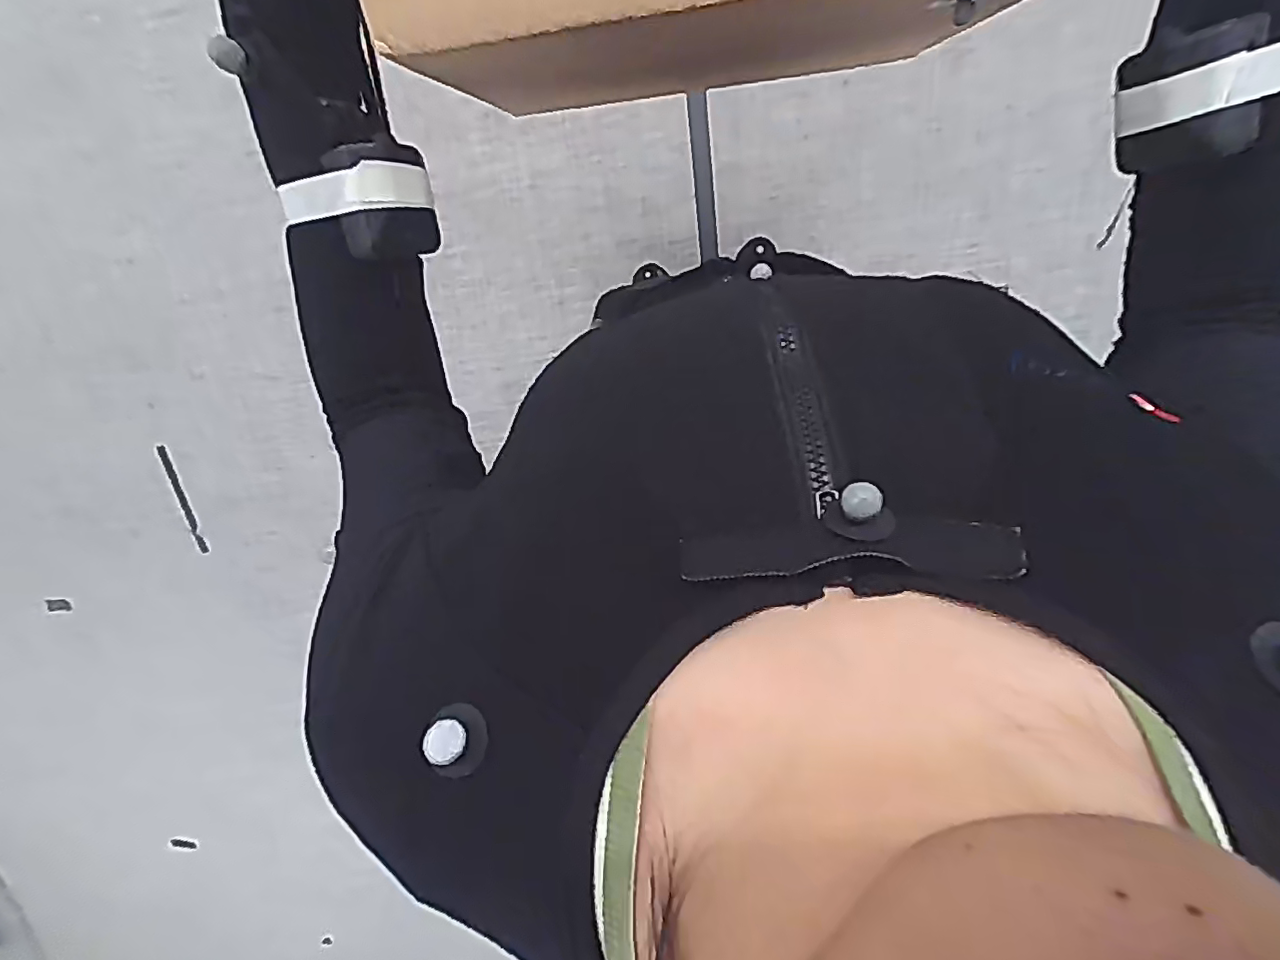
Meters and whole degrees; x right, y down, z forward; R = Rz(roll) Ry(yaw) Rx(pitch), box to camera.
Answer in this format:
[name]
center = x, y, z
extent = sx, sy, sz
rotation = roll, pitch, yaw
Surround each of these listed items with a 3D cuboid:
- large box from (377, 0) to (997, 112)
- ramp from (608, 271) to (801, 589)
[large box]
center = 0.044, -0.457, 0.344
extent = 0.408, 0.320, 0.320
rotation = -5, 118, 4
[ramp]
center = 0.231, -0.072, 1.610
extent = 0.509, 0.206, 0.991
rotation = -9, 111, 5
